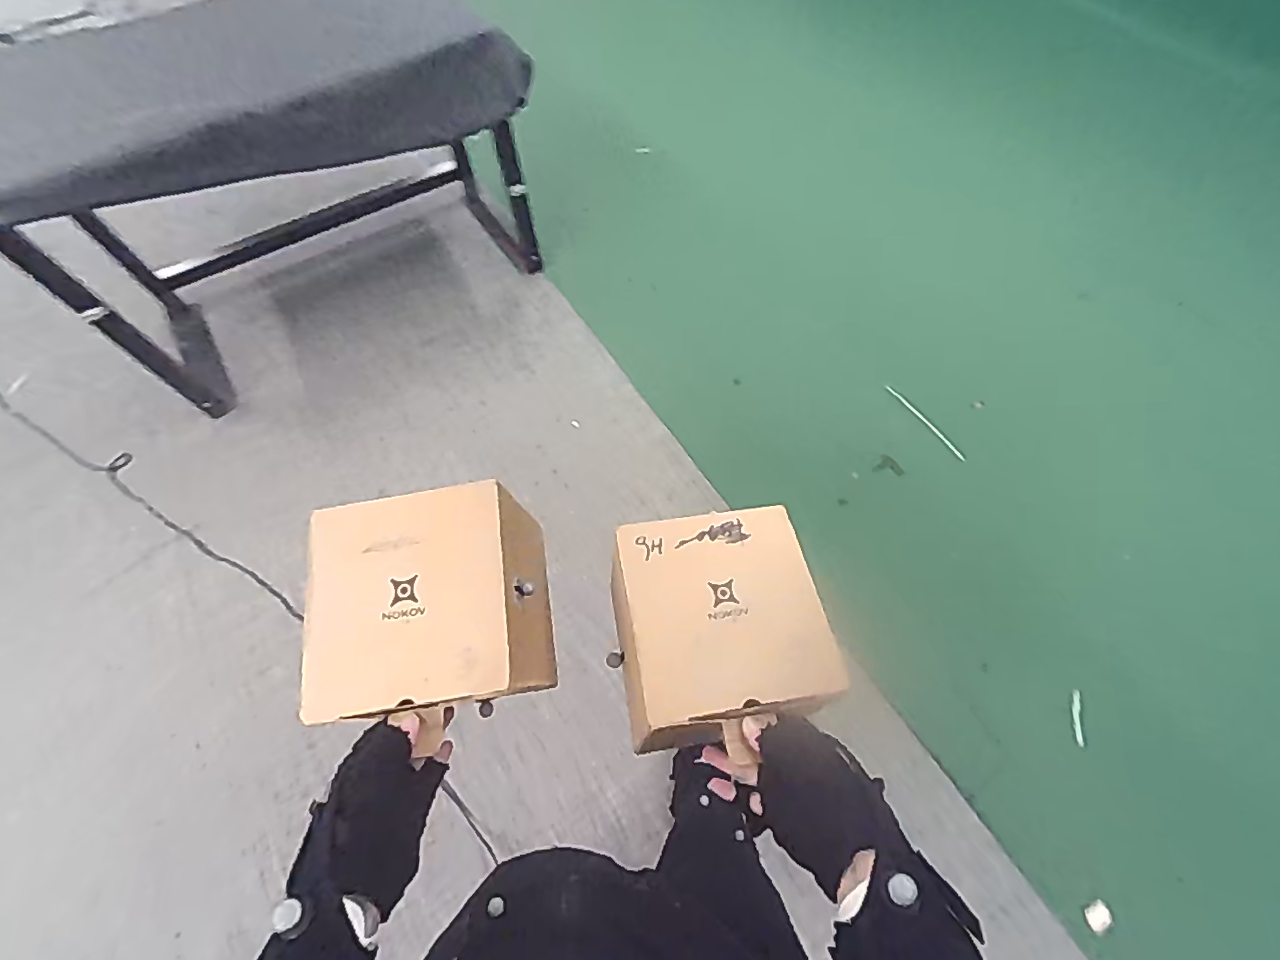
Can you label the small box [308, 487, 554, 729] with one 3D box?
[{"bbox_3d":[-0.187,0.126,0.524,0.168,0.176,0.179,-11,70,0],"label":"small box"}]
